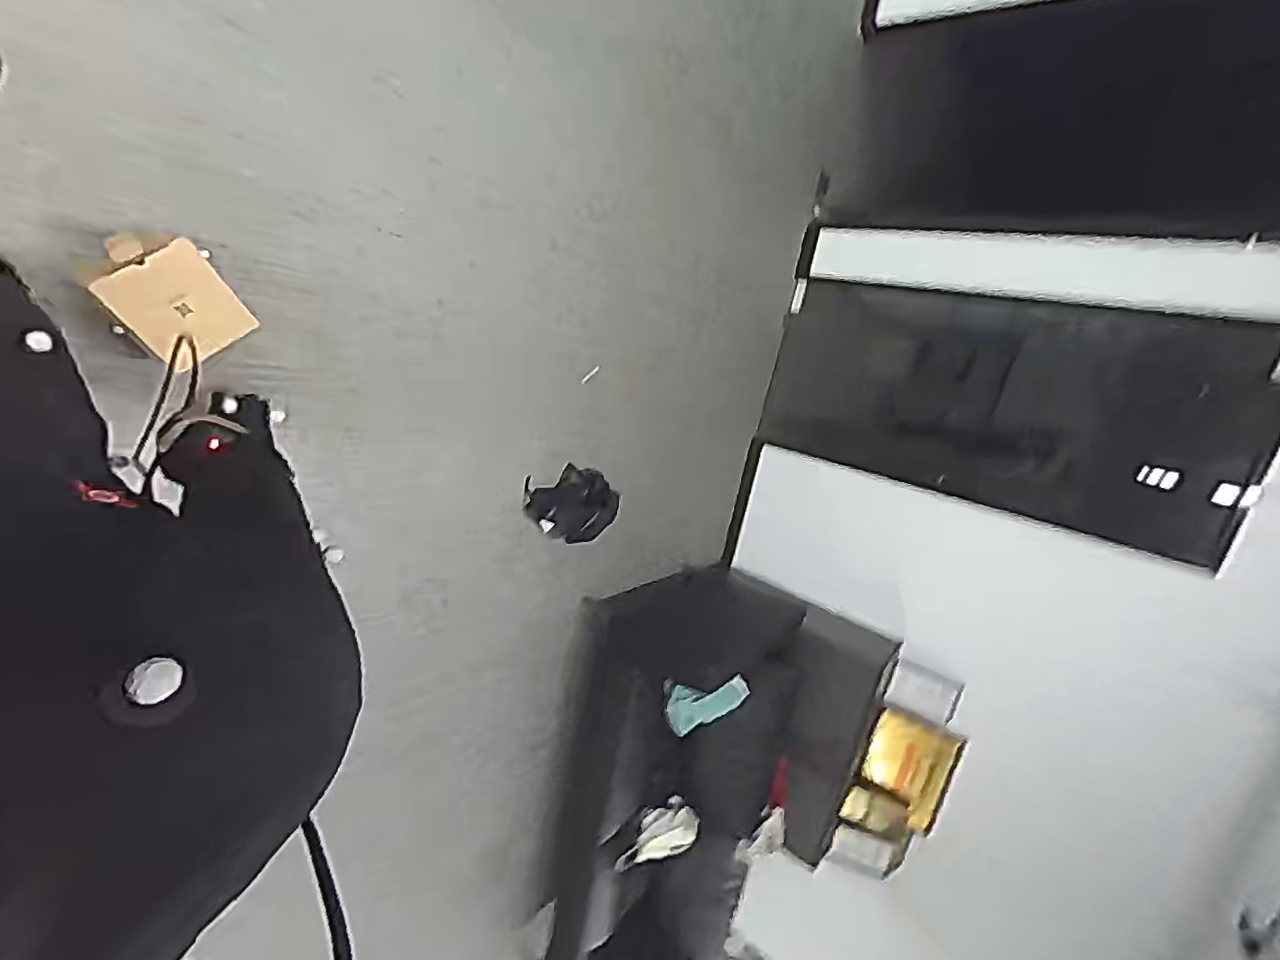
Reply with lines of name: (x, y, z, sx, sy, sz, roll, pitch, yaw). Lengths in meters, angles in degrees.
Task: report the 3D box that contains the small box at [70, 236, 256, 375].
small box: (-0.859, -0.321, 0.979, 0.168, 0.176, 0.179, -50, 141, -26)
